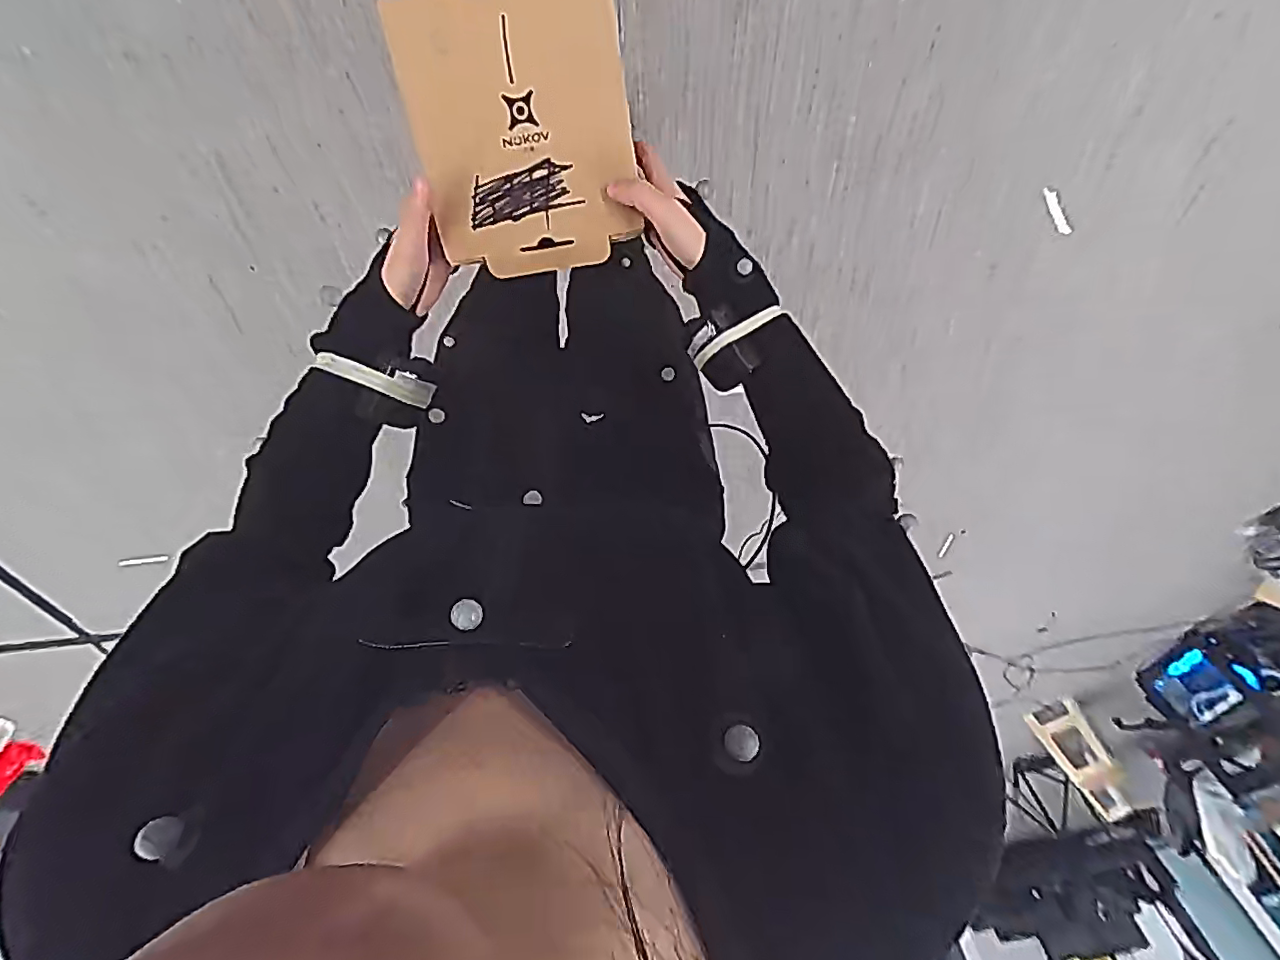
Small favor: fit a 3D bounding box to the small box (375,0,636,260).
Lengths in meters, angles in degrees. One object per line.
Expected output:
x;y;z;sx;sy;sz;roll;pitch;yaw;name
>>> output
-0.099;-0.303;0.484;0.168;0.176;0.179;-10;112;-1;small box
